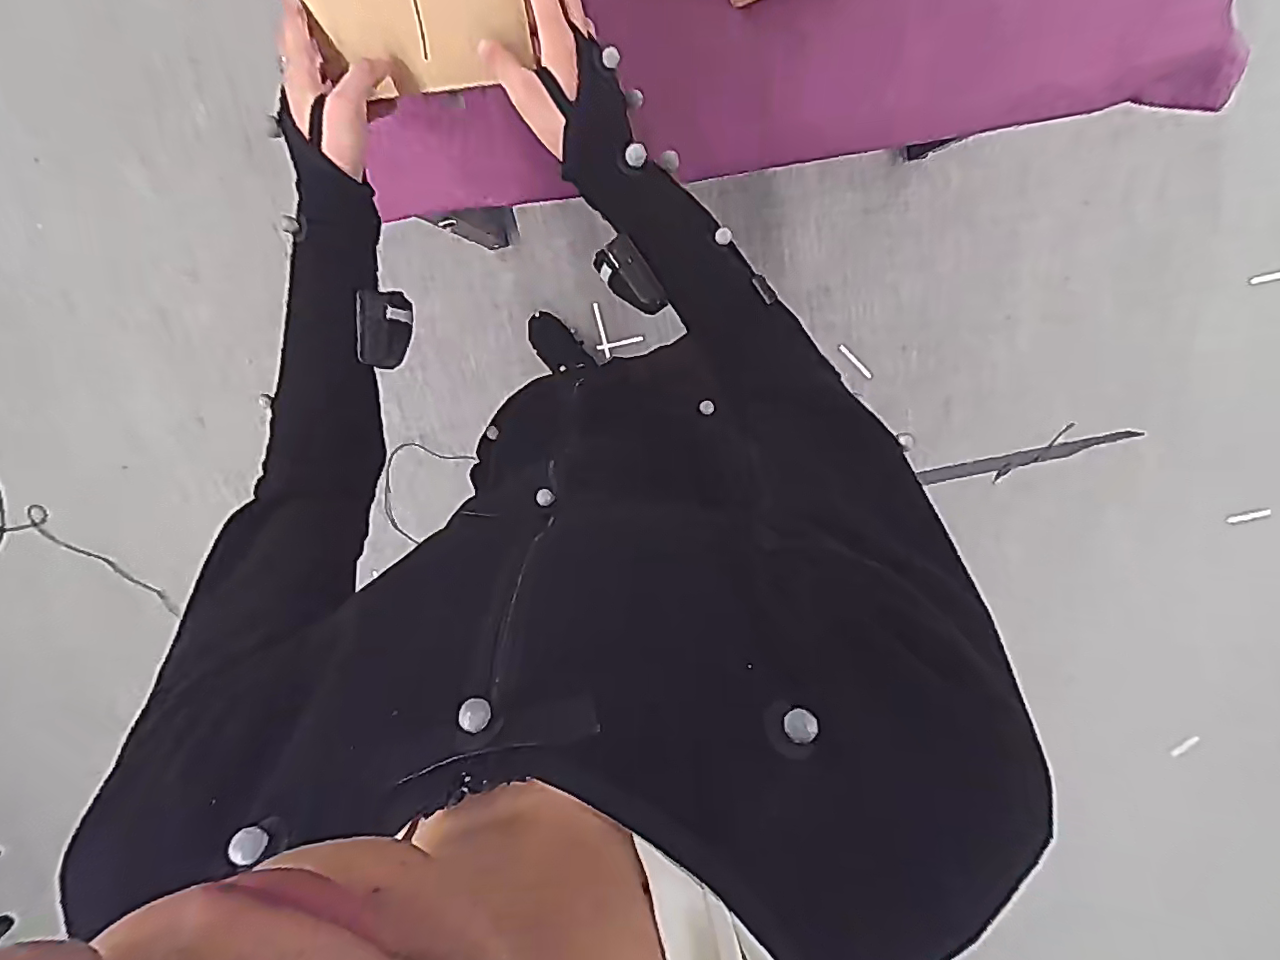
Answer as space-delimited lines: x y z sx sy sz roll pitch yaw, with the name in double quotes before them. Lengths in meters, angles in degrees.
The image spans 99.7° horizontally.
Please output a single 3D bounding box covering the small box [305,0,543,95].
"small box" -0.179 -0.436 0.450 0.168 0.176 0.179 -8 128 -1
